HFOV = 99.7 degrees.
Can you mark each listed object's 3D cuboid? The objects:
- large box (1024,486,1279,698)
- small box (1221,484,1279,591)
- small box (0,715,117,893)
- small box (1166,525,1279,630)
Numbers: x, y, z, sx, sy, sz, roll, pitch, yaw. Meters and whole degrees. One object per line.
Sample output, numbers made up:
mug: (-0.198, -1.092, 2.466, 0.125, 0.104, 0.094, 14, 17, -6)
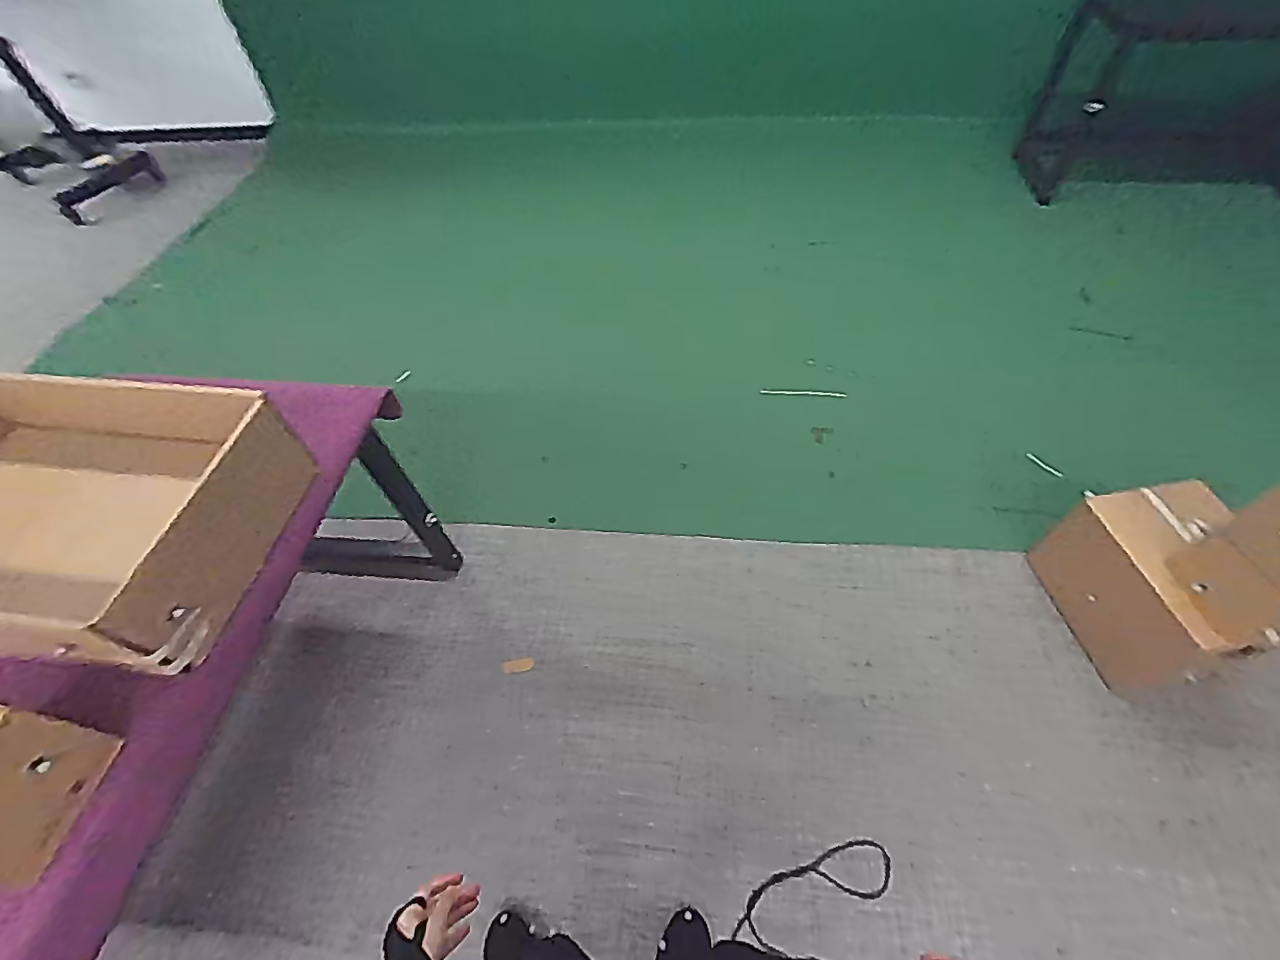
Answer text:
large box: (1.301, 0.283, 1.372, 0.320, 0.320, 0.408, -8, 51, -3)
small box: (1.269, 0.104, 0.995, 0.168, 0.176, 0.179, -9, 51, -2)
small box: (-0.794, 0.369, 0.630, 0.179, 0.176, 0.168, 3, 53, 8)
small box: (1.281, 0.203, 1.125, 0.168, 0.176, 0.179, -5, 53, 0)
